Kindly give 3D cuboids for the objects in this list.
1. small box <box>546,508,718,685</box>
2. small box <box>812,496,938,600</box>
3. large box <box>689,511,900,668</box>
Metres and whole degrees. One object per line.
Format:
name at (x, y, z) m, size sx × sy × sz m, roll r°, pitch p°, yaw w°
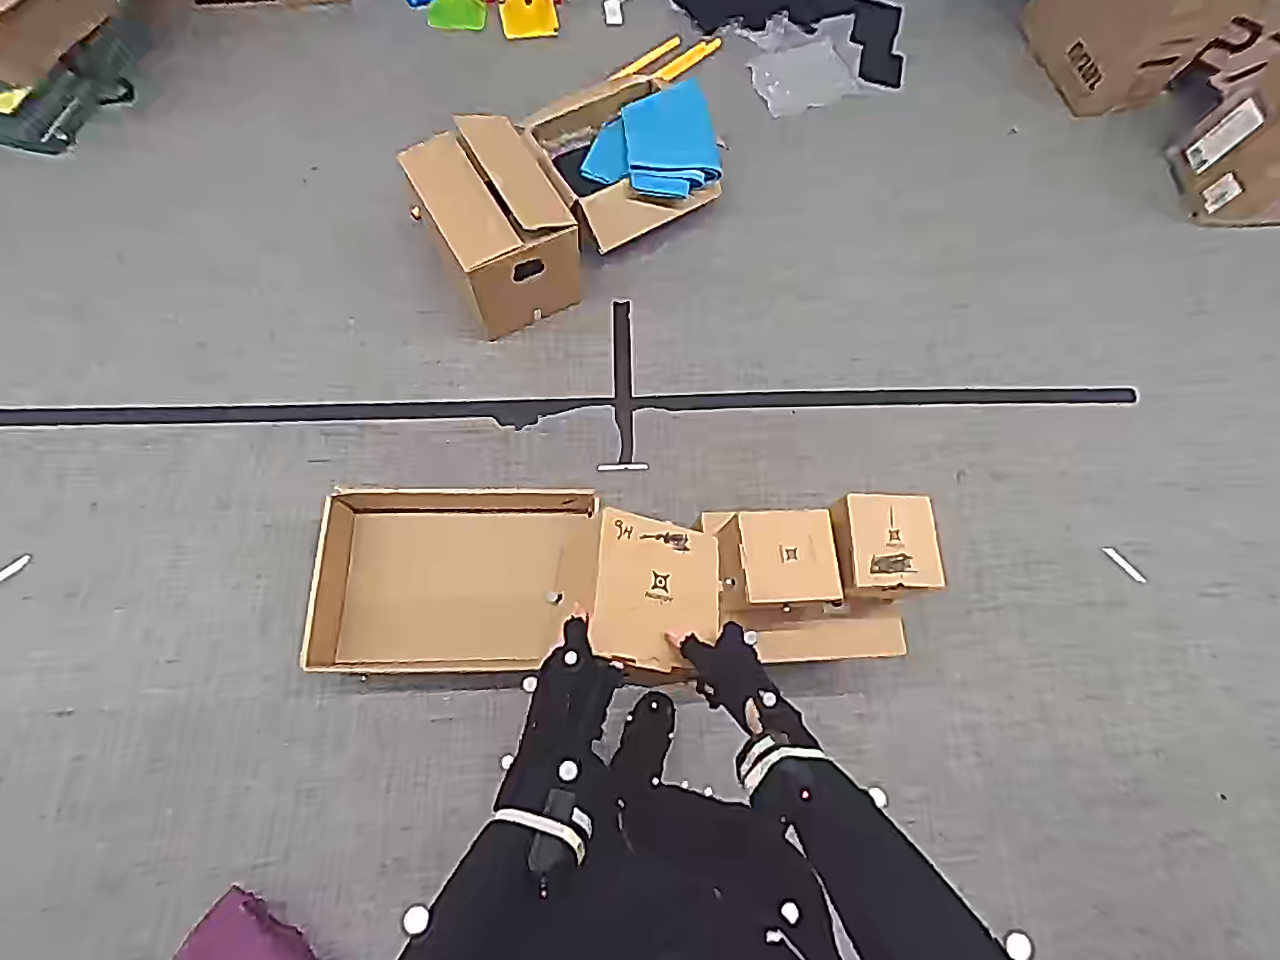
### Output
small box at (-0.014, 0.162, 0.704) m, size 0.168 × 0.176 × 0.179 m, roll 17°, pitch 60°, yaw -21°
small box at (0.454, 0.142, 1.071) m, size 0.168 × 0.176 × 0.179 m, roll 3°, pitch 70°, yaw -4°
large box at (0.316, 0.265, 1.277) m, size 0.408 × 0.320 × 0.320 m, roll -1°, pitch 73°, yaw -6°
